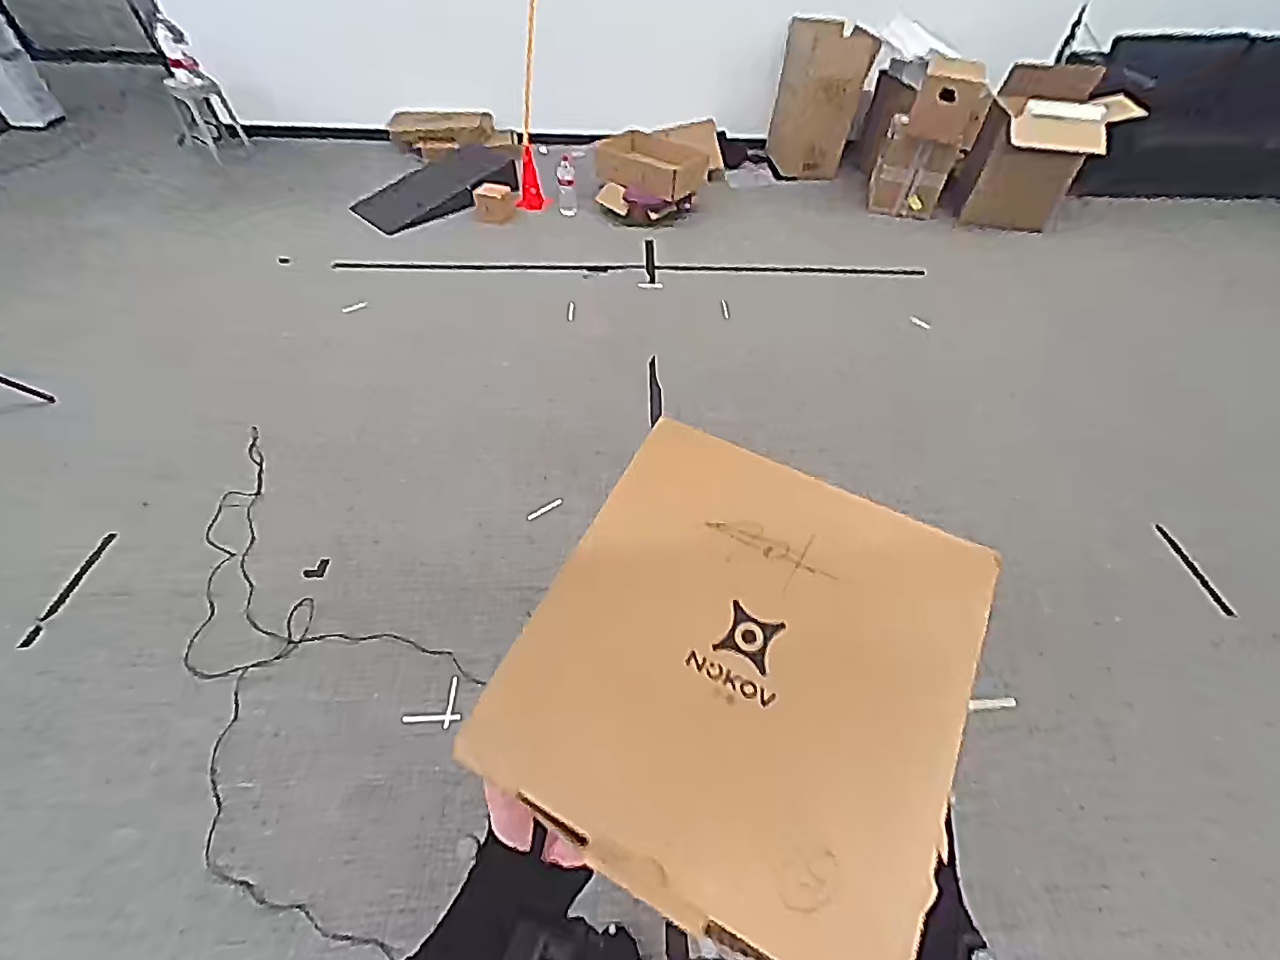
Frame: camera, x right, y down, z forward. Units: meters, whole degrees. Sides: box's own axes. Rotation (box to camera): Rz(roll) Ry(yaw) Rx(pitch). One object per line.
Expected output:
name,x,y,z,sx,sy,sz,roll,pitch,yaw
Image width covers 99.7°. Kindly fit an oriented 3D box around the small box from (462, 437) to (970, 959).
small box,0.041,0.115,0.296,0.168,0.176,0.179,24,62,13
